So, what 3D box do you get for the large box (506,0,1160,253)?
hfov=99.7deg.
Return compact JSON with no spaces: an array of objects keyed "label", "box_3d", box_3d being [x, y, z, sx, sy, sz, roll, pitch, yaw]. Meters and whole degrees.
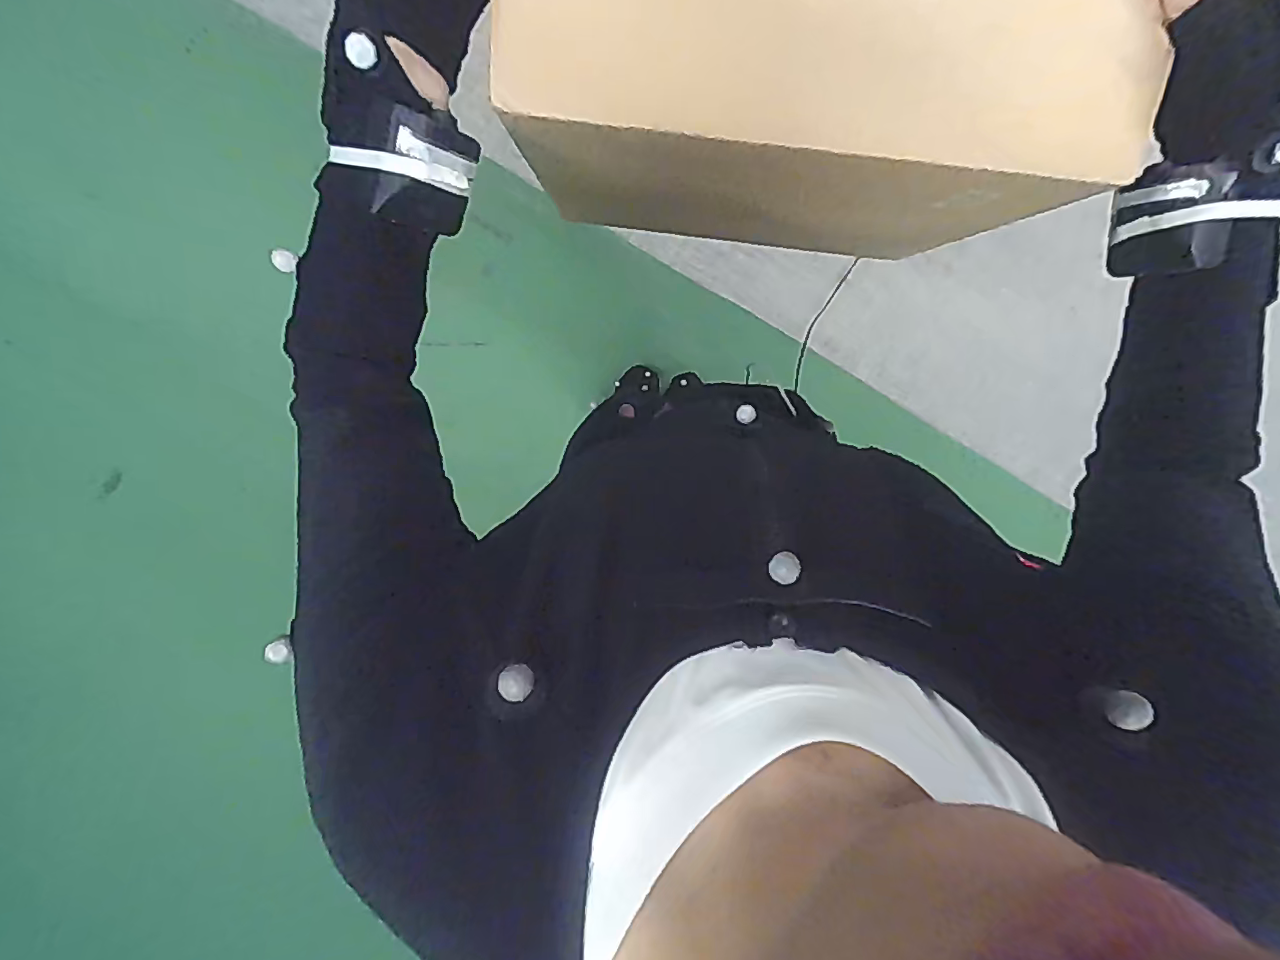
[{"label":"large box","box_3d":[0.122,-0.396,0.457,0.408,0.320,0.320,6,104,-1]}]
